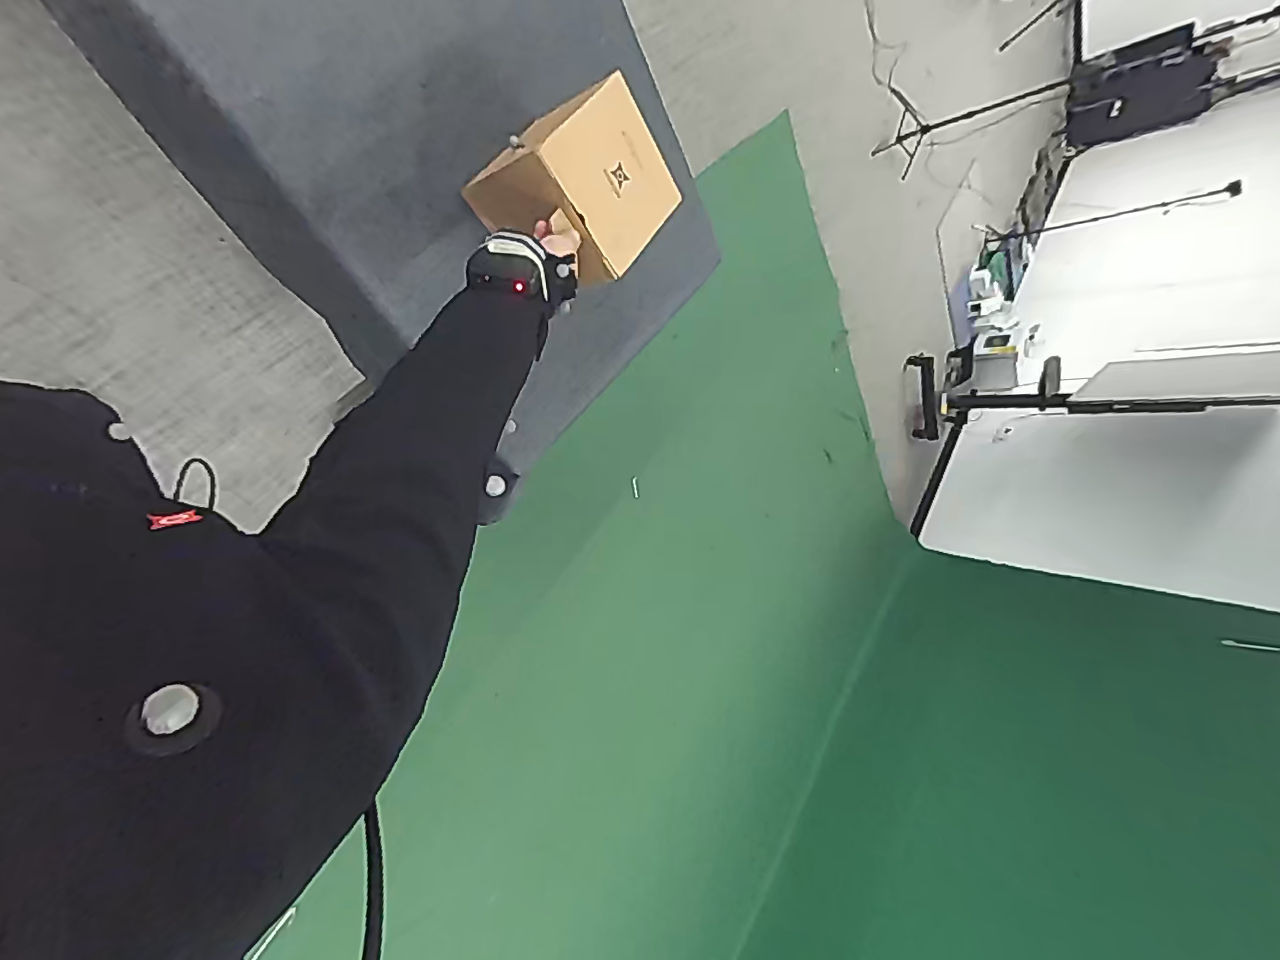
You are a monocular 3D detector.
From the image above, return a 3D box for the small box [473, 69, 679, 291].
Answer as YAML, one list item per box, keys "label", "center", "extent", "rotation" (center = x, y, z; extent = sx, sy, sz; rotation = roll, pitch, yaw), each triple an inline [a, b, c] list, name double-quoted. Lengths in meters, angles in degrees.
- label: "small box"
  center: [-0.085, -0.369, 0.696]
  extent: [0.168, 0.176, 0.179]
  rotation: [51, 59, -39]
